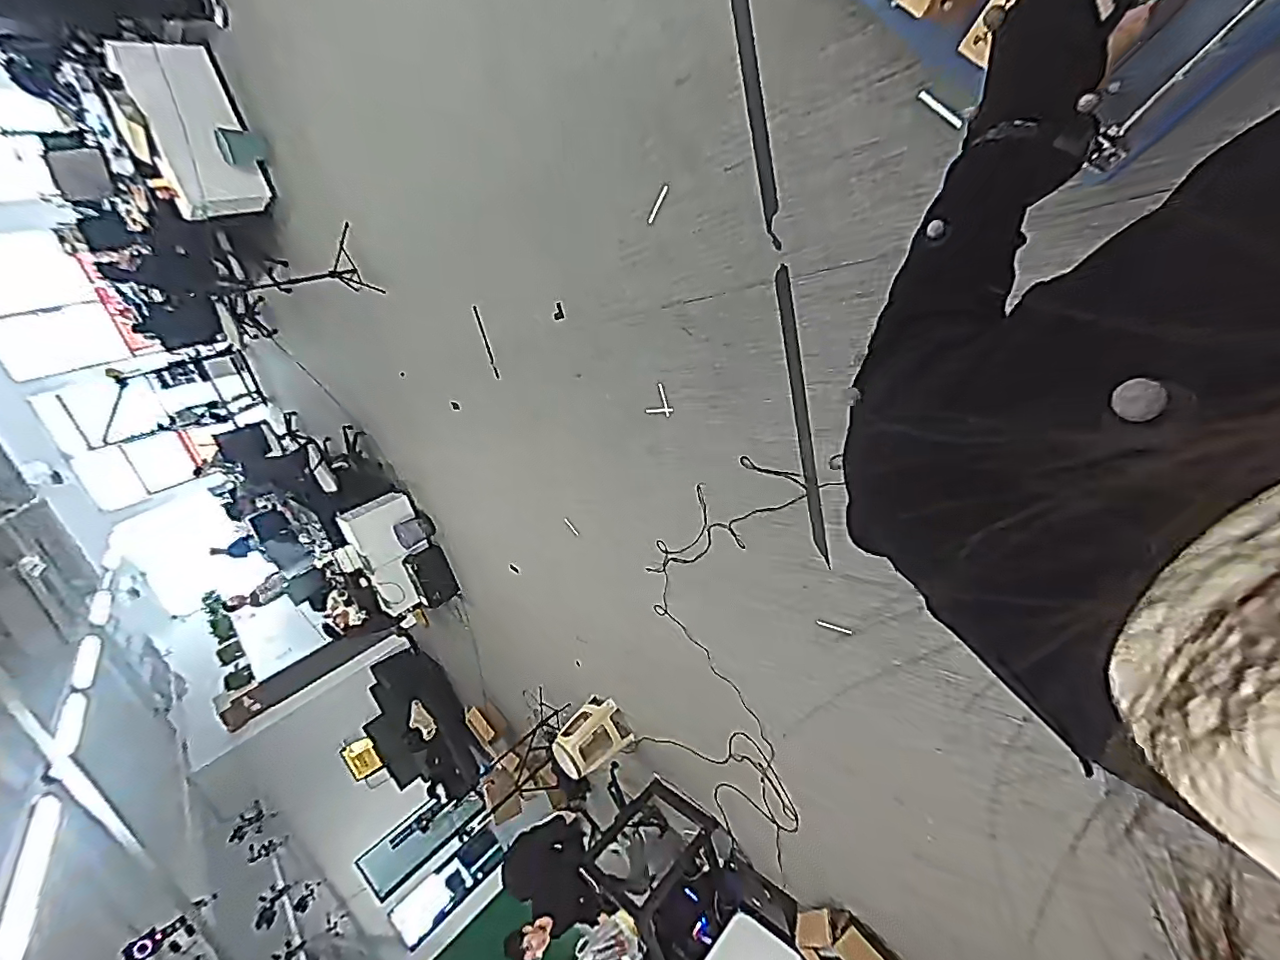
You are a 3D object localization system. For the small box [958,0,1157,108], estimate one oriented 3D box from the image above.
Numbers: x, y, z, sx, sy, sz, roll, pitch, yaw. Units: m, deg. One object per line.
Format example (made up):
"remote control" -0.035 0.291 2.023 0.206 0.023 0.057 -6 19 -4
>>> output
"small box" 0.637 -0.701 0.819 0.179 0.176 0.168 47 141 14
